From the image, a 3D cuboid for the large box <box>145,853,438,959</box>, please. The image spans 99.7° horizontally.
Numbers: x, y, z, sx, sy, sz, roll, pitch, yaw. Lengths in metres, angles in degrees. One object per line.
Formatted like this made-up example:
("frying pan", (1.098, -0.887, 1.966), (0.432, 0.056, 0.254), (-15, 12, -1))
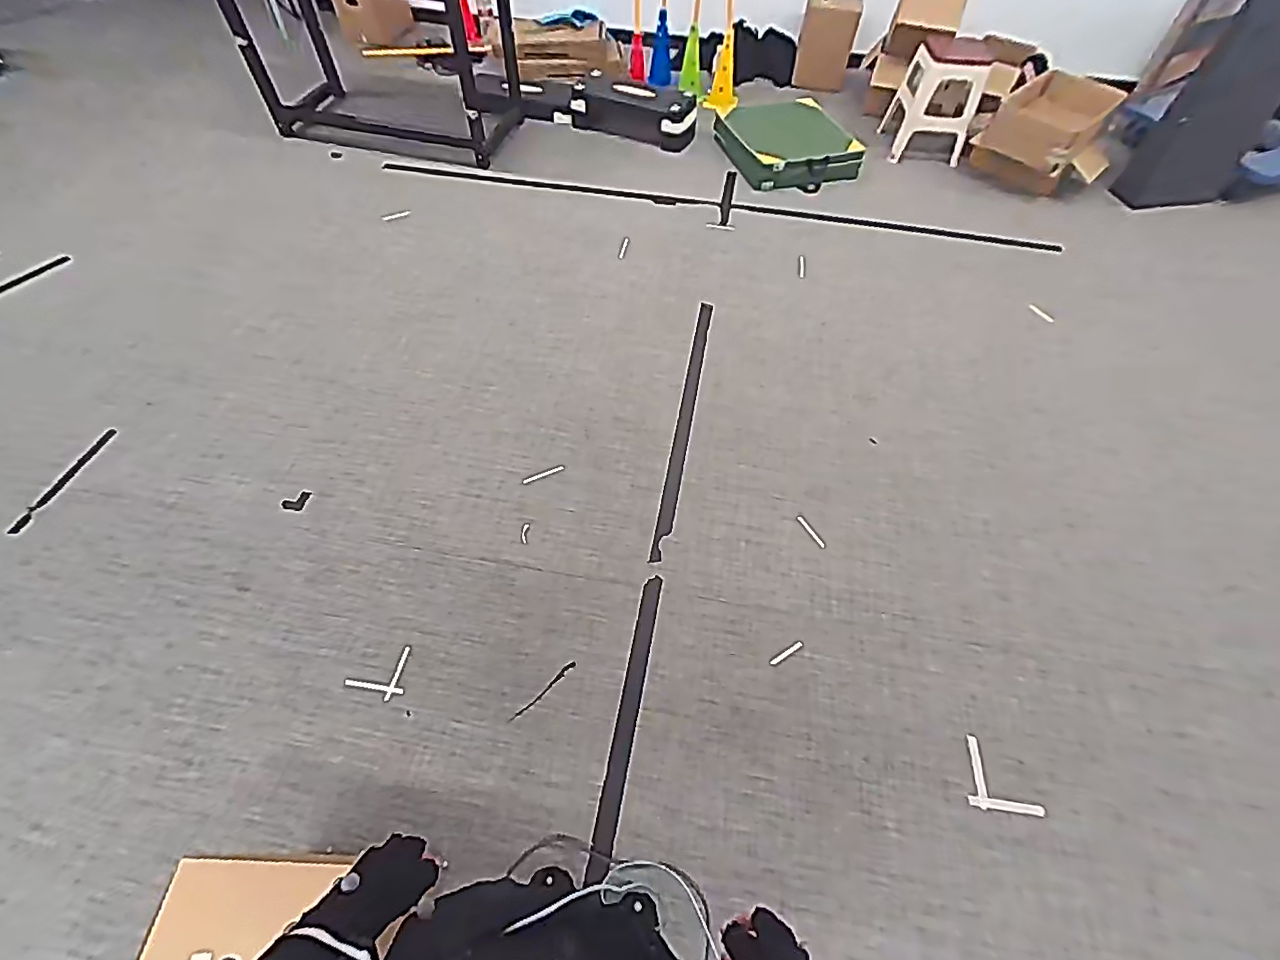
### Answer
("large box", (-0.590, 0.847, 0.940), (0.320, 0.408, 0.320), (4, 57, -1))
